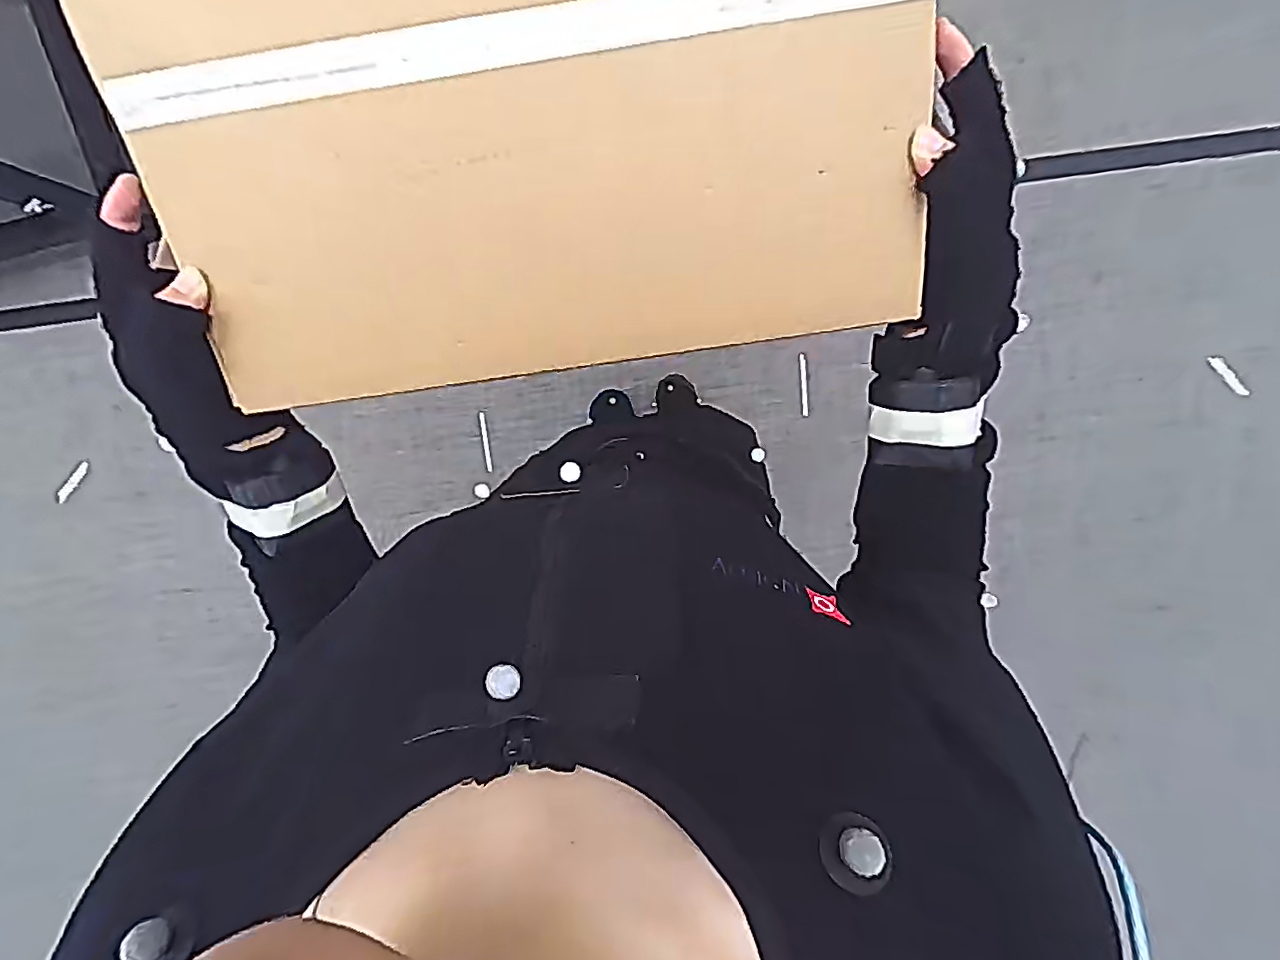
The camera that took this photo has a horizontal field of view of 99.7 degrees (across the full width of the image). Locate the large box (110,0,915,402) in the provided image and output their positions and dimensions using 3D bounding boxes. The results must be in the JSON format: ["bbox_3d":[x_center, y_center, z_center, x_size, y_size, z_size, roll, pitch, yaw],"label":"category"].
[{"bbox_3d":[-0.063,-0.269,0.415,0.408,0.320,0.320,-8,111,2],"label":"large box"}]
